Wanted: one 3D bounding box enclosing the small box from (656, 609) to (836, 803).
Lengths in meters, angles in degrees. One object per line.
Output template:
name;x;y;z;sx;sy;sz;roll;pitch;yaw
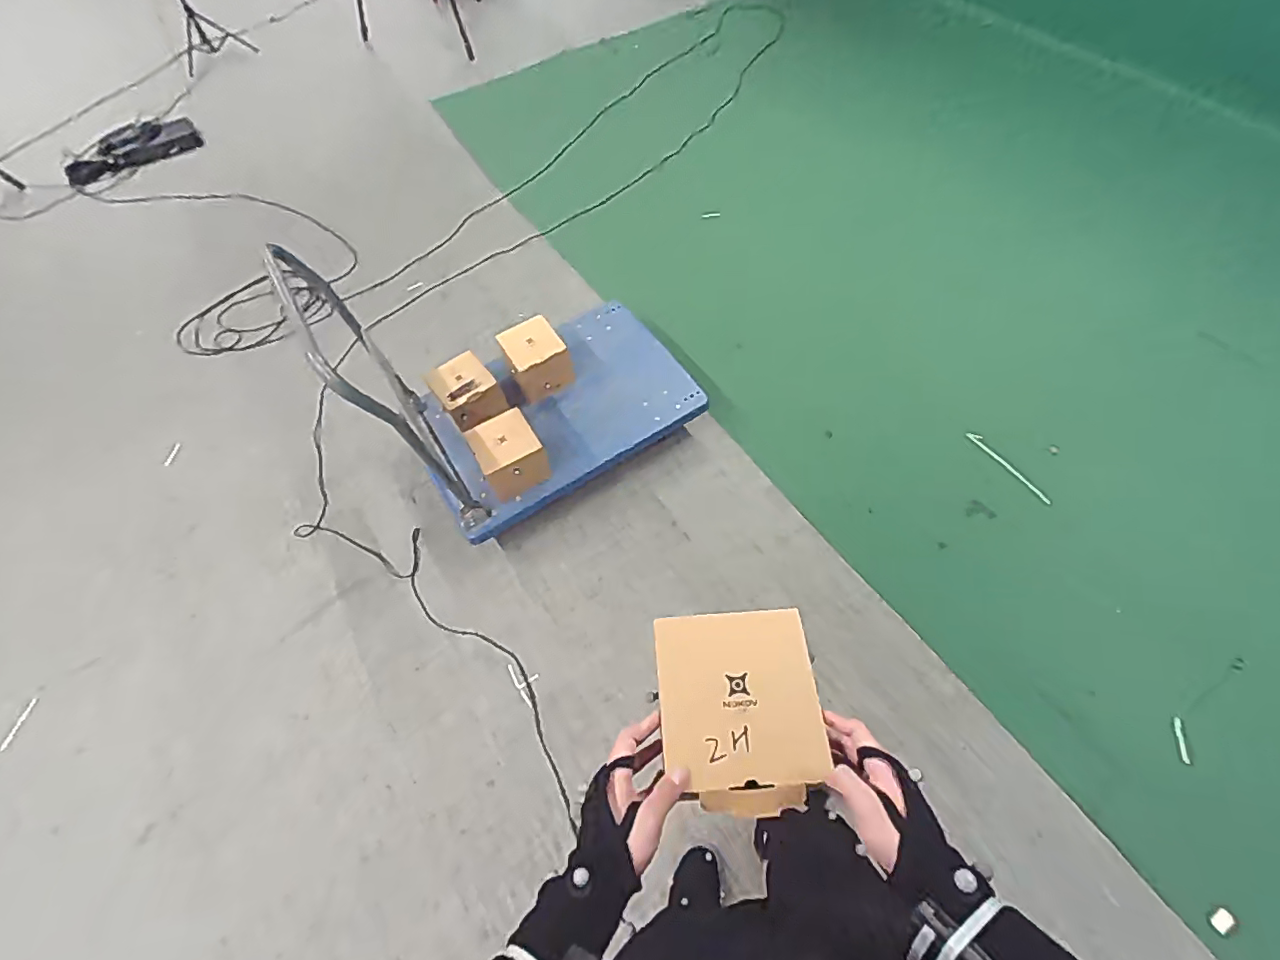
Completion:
small box;0.106;0.267;0.633;0.168;0.176;0.179;-5;57;-1

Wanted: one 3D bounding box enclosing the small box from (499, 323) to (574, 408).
small box;-0.330;-0.366;1.746;0.168;0.176;0.179;-31;65;-14

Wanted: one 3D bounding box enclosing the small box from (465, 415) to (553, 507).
small box;-0.375;-0.049;1.567;0.179;0.176;0.168;-28;63;-13
